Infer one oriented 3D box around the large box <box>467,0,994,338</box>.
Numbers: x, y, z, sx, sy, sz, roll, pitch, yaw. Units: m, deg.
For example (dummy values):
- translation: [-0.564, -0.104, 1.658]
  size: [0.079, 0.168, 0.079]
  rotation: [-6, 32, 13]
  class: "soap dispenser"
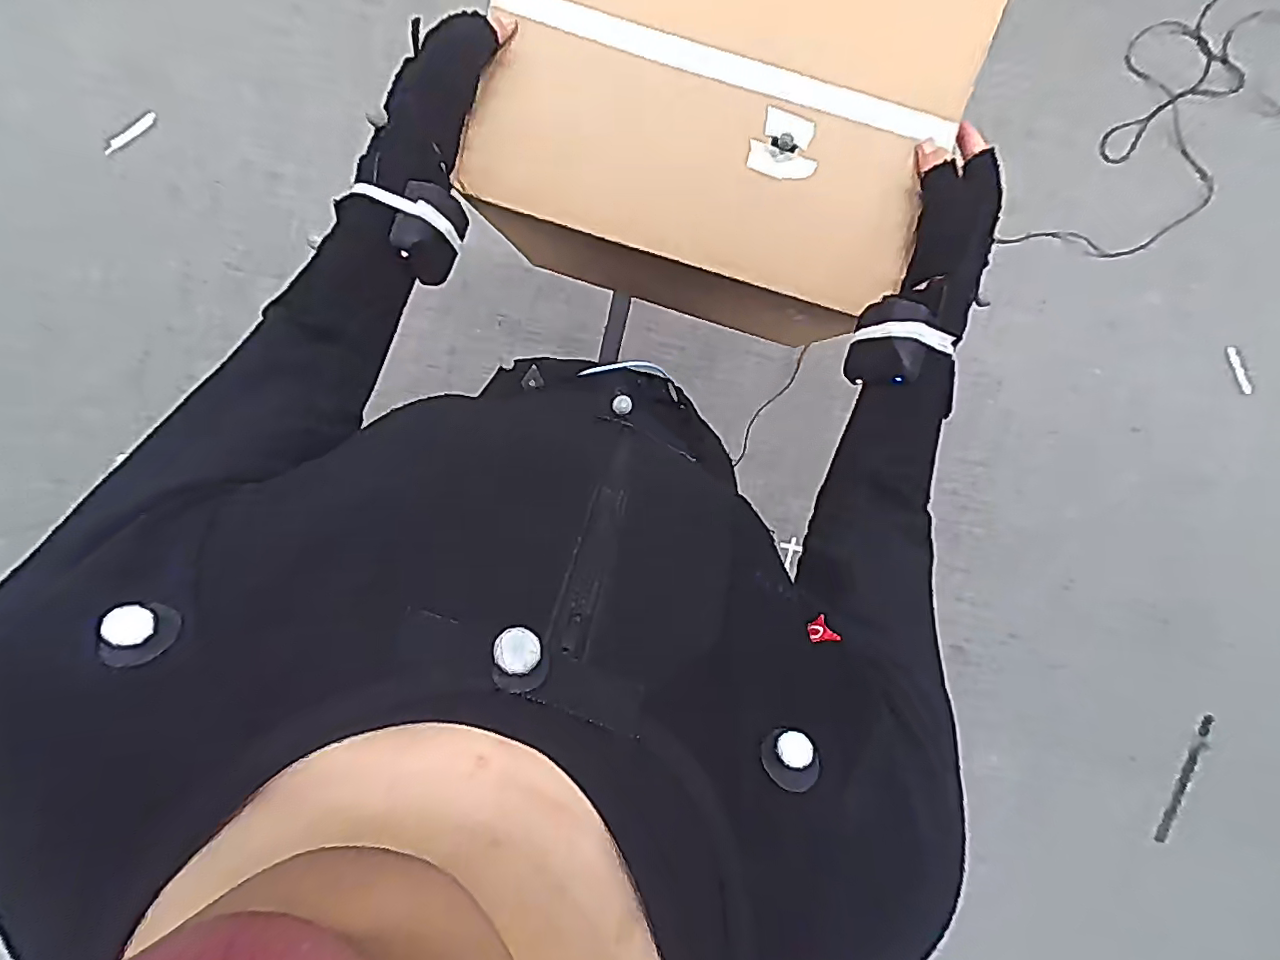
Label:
- translation: [0.074, -0.374, 0.610]
  size: [0.408, 0.320, 0.320]
  rotation: [16, 101, -3]
  class: "large box"
